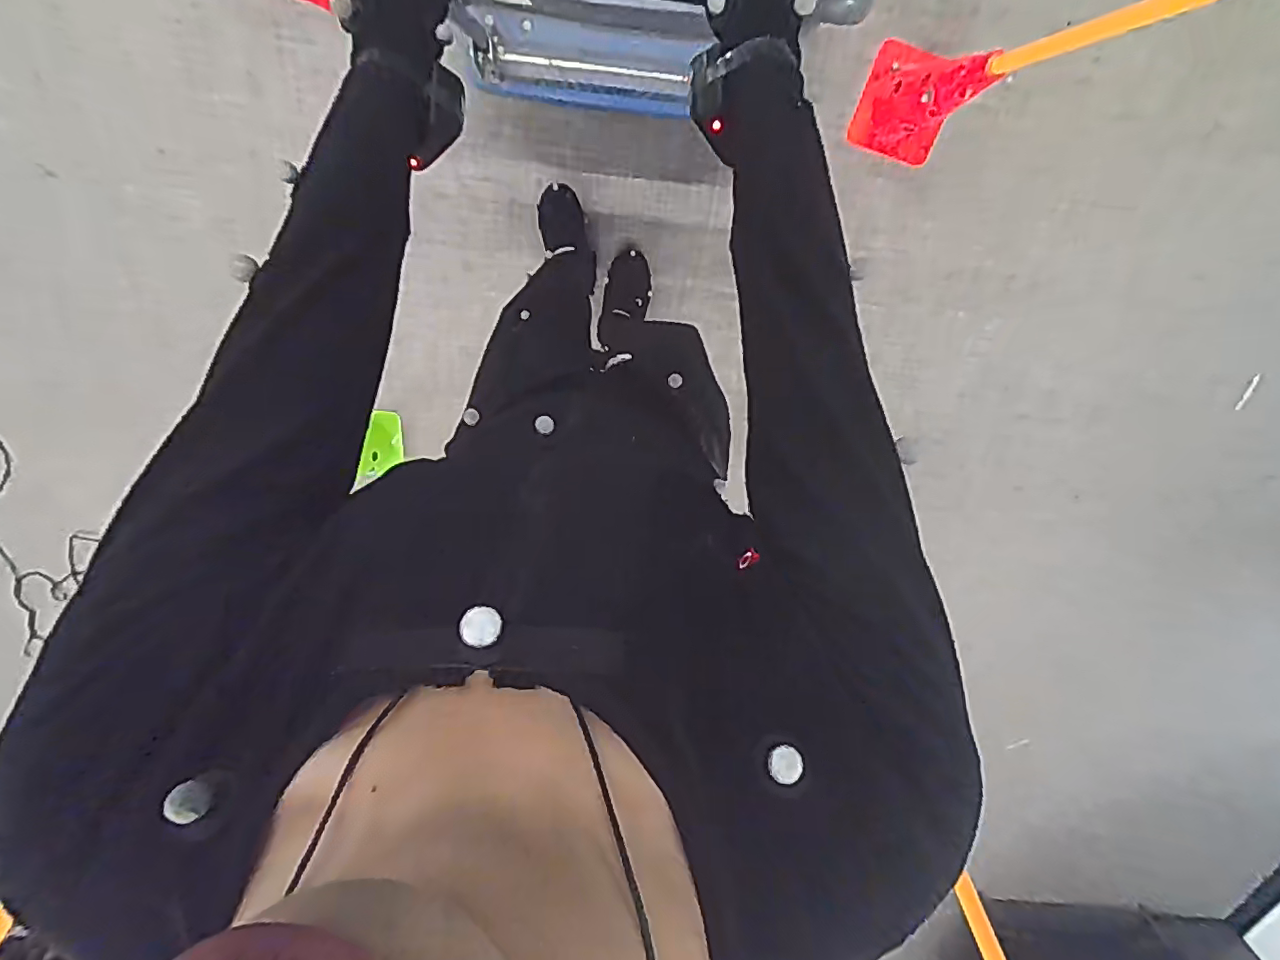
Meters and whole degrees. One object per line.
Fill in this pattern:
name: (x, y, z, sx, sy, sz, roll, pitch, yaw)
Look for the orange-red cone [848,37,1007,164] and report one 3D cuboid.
orange-red cone: (0.577, -0.748, 1.026, 0.198, 0.360, 0.199, 17, 116, -7)
